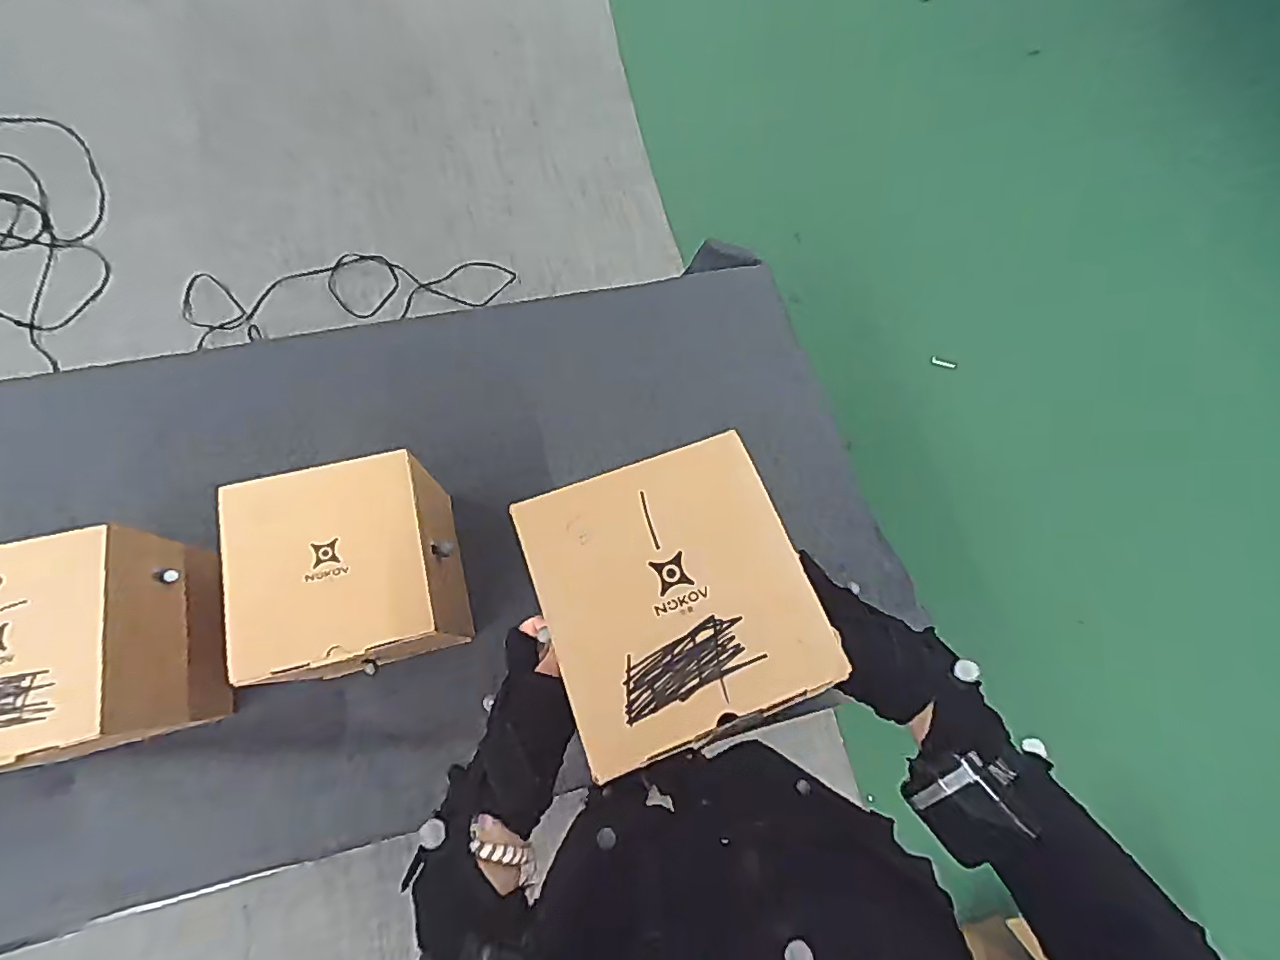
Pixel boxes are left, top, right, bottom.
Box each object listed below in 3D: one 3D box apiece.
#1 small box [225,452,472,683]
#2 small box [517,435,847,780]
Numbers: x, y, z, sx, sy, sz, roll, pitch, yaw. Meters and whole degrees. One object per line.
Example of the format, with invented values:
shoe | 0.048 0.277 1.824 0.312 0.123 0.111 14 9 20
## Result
small box | -0.279 0.093 0.549 0.168 0.176 0.179 -13 75 -10
small box | 0.020 0.095 0.414 0.168 0.176 0.179 -18 71 -10
